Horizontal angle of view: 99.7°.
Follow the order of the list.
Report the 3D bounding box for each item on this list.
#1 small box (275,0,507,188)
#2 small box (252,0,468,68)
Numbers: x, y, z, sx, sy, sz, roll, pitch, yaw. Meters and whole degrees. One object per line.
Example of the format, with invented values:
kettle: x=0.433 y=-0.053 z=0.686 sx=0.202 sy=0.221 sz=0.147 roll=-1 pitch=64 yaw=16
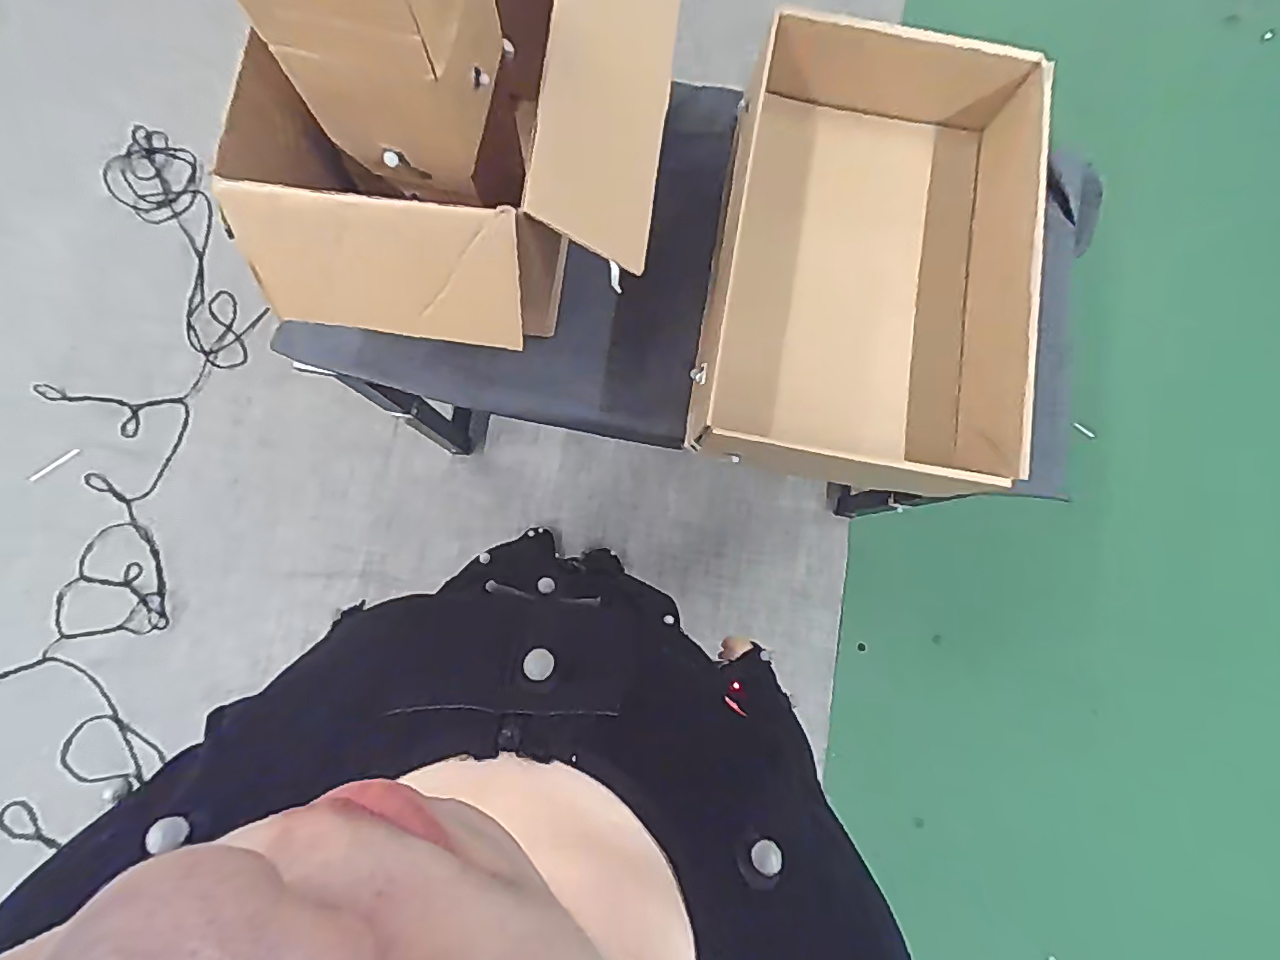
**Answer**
small box: x=-0.256 y=-0.472 z=0.605 sx=0.168 sy=0.176 sz=0.179 roll=12 pitch=84 yaw=-2
small box: x=-0.249 y=-0.490 z=0.444 sx=0.179 sy=0.176 sz=0.168 roll=13 pitch=82 yaw=-2
